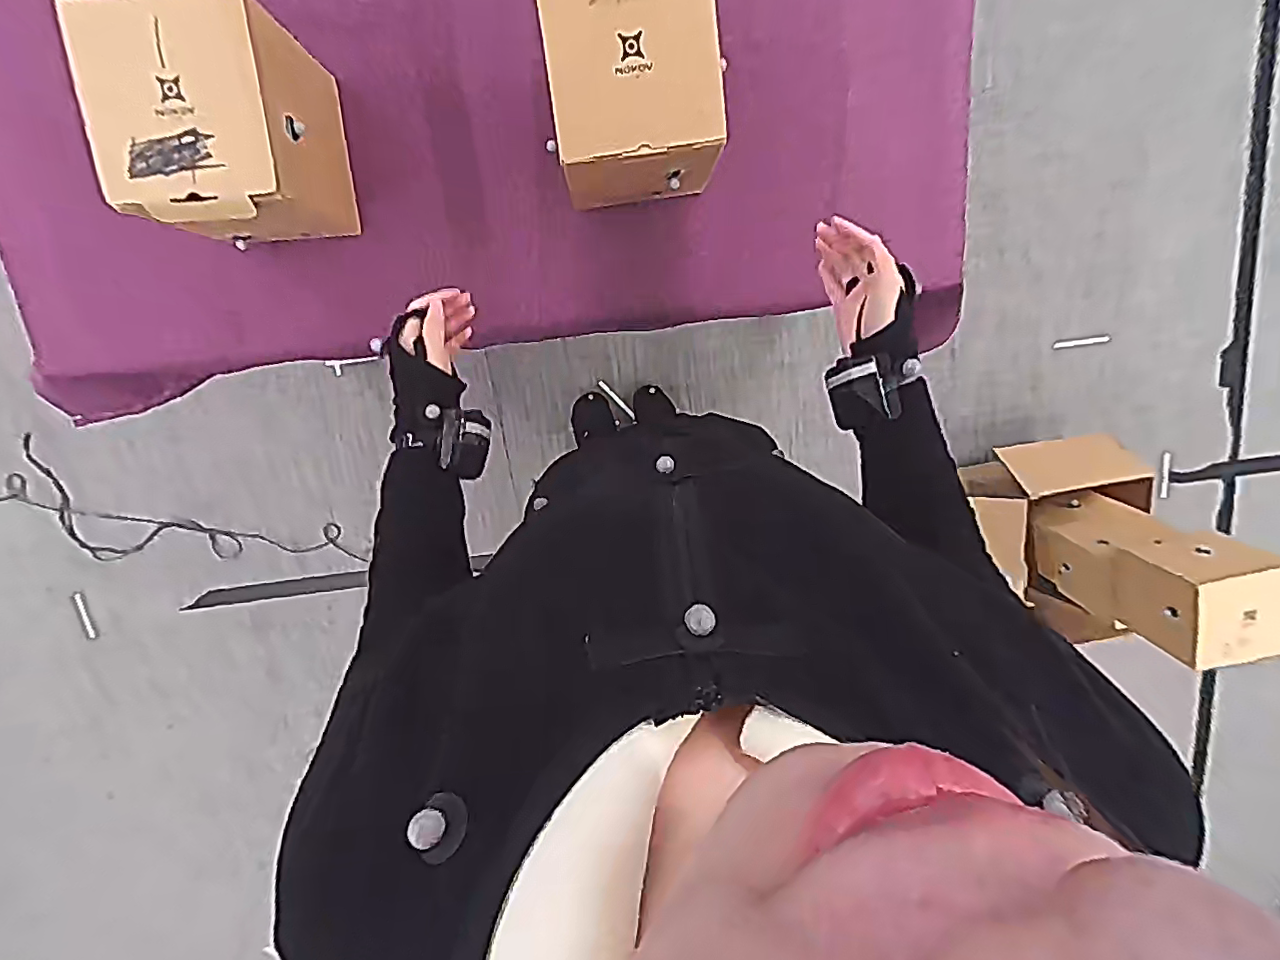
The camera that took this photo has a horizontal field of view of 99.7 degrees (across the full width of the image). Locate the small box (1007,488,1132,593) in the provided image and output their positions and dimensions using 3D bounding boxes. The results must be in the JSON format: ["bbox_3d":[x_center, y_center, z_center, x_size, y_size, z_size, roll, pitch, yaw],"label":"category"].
[{"bbox_3d":[1.039,0.135,1.315,0.168,0.176,0.179,-28,106,7],"label":"small box"}]

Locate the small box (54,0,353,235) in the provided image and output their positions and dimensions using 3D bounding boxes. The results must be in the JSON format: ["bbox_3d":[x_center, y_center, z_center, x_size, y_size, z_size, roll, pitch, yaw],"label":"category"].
[{"bbox_3d":[-0.433,-0.369,0.574,0.168,0.176,0.179,-5,102,-2],"label":"small box"}]

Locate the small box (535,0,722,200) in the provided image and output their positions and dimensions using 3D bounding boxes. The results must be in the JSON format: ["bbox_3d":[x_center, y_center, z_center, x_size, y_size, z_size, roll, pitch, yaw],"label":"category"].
[{"bbox_3d":[-0.012,-0.419,0.582,0.168,0.176,0.179,-8,103,-1],"label":"small box"}]

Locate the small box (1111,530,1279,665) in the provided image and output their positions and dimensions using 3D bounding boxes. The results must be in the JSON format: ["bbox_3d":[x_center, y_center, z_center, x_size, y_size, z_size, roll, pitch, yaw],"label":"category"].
[{"bbox_3d":[1.014,0.204,0.993,0.168,0.176,0.179,-14,107,5],"label":"small box"}]
